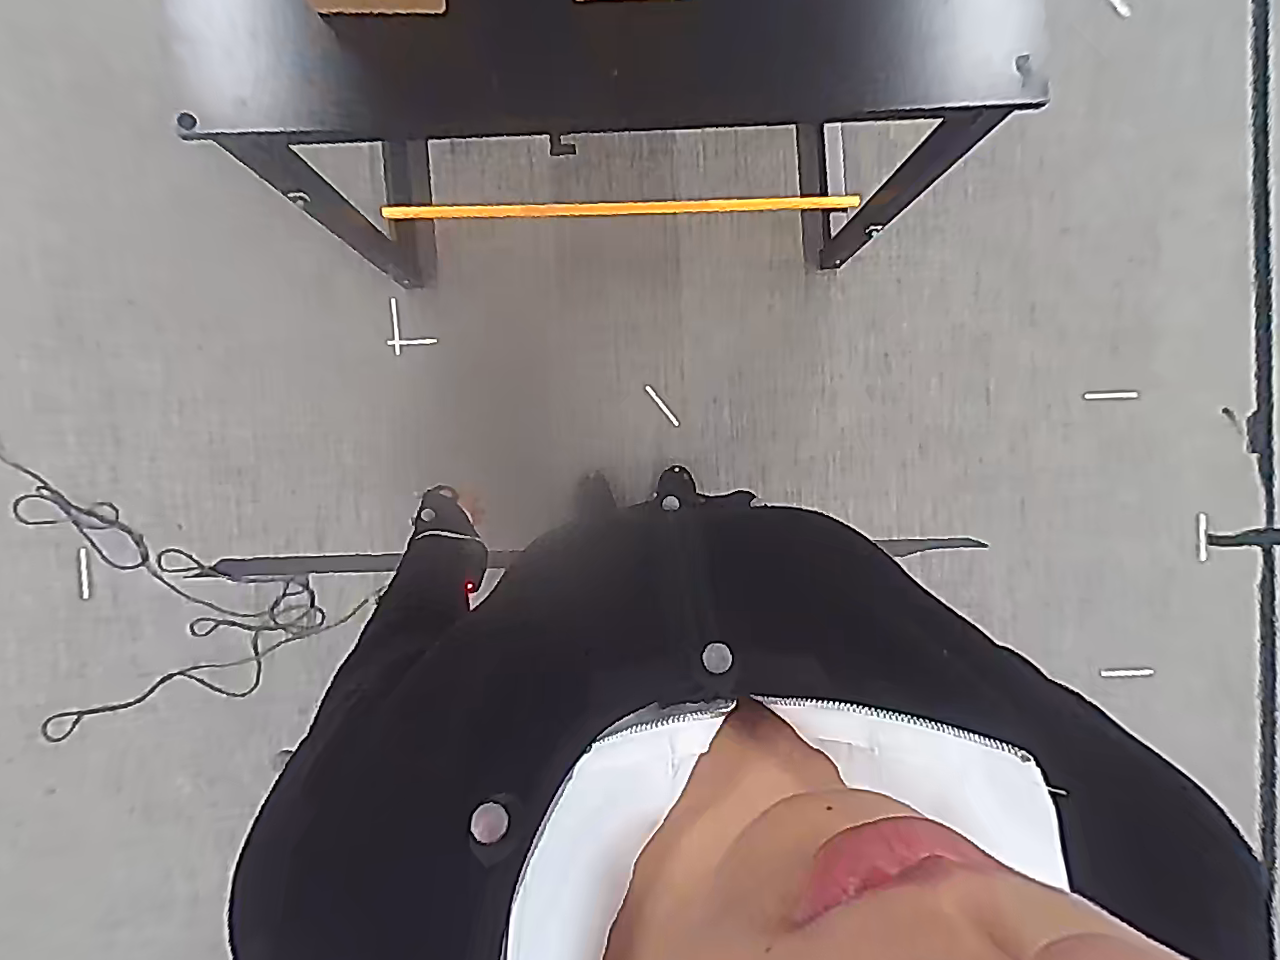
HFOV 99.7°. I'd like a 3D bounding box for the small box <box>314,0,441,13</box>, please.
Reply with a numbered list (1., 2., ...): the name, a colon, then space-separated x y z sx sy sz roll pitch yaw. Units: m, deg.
1. small box: -0.352 -0.714 0.654 0.179 0.176 0.168 -2 92 -3
